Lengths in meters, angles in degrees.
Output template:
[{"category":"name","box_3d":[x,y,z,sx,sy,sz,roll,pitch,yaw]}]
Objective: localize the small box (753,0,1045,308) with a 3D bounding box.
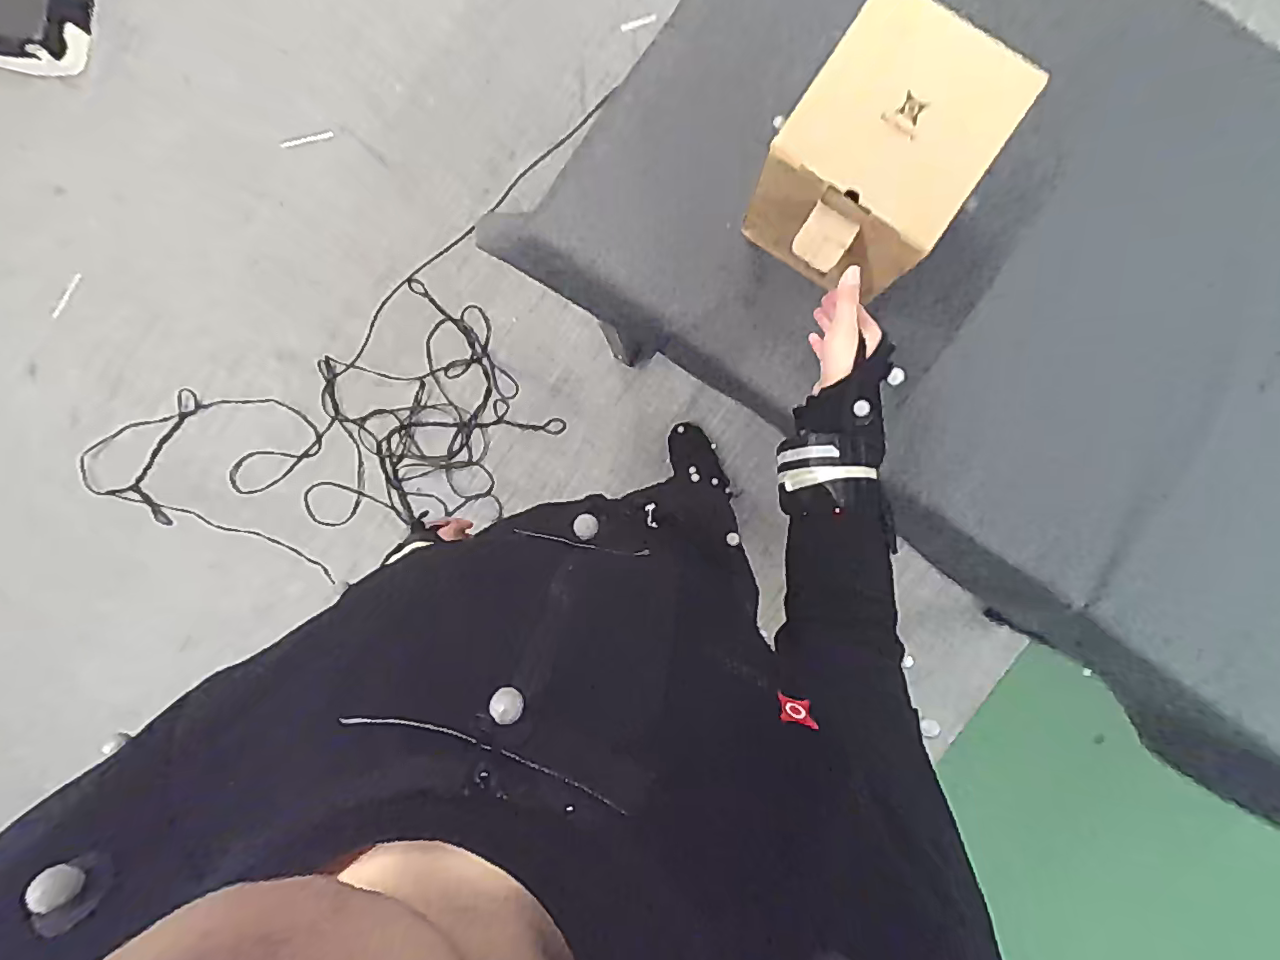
[{"category":"small box","box_3d":[0.233,-0.306,0.540,0.168,0.176,0.179,34,92,0]}]
